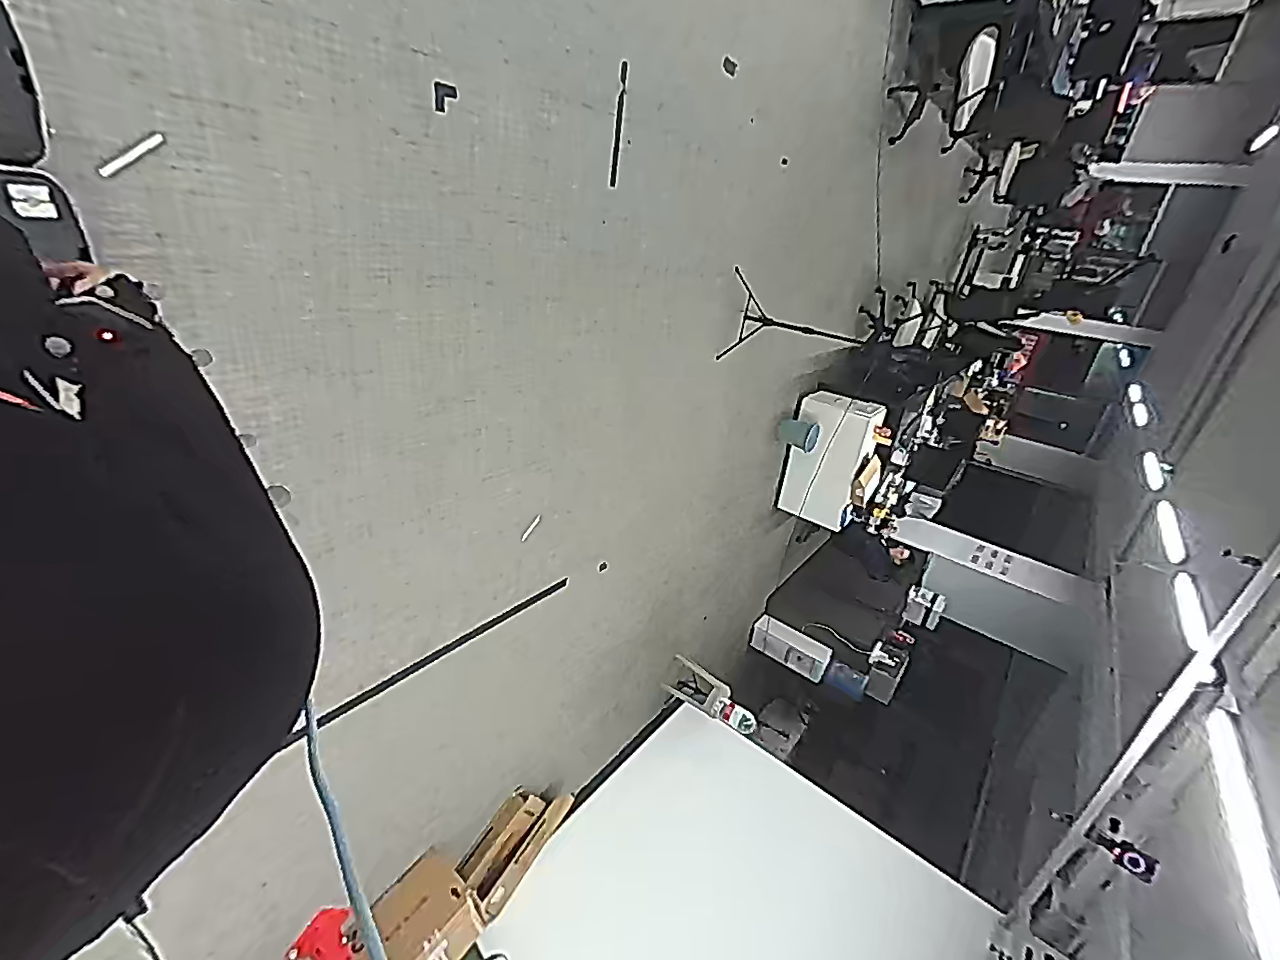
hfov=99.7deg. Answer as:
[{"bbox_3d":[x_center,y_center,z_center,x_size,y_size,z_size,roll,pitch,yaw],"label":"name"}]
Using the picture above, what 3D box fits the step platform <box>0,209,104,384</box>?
[{"bbox_3d":[-1.255,-0.281,0.780,0.684,0.204,0.286,-16,121,-49],"label":"step platform"}]
